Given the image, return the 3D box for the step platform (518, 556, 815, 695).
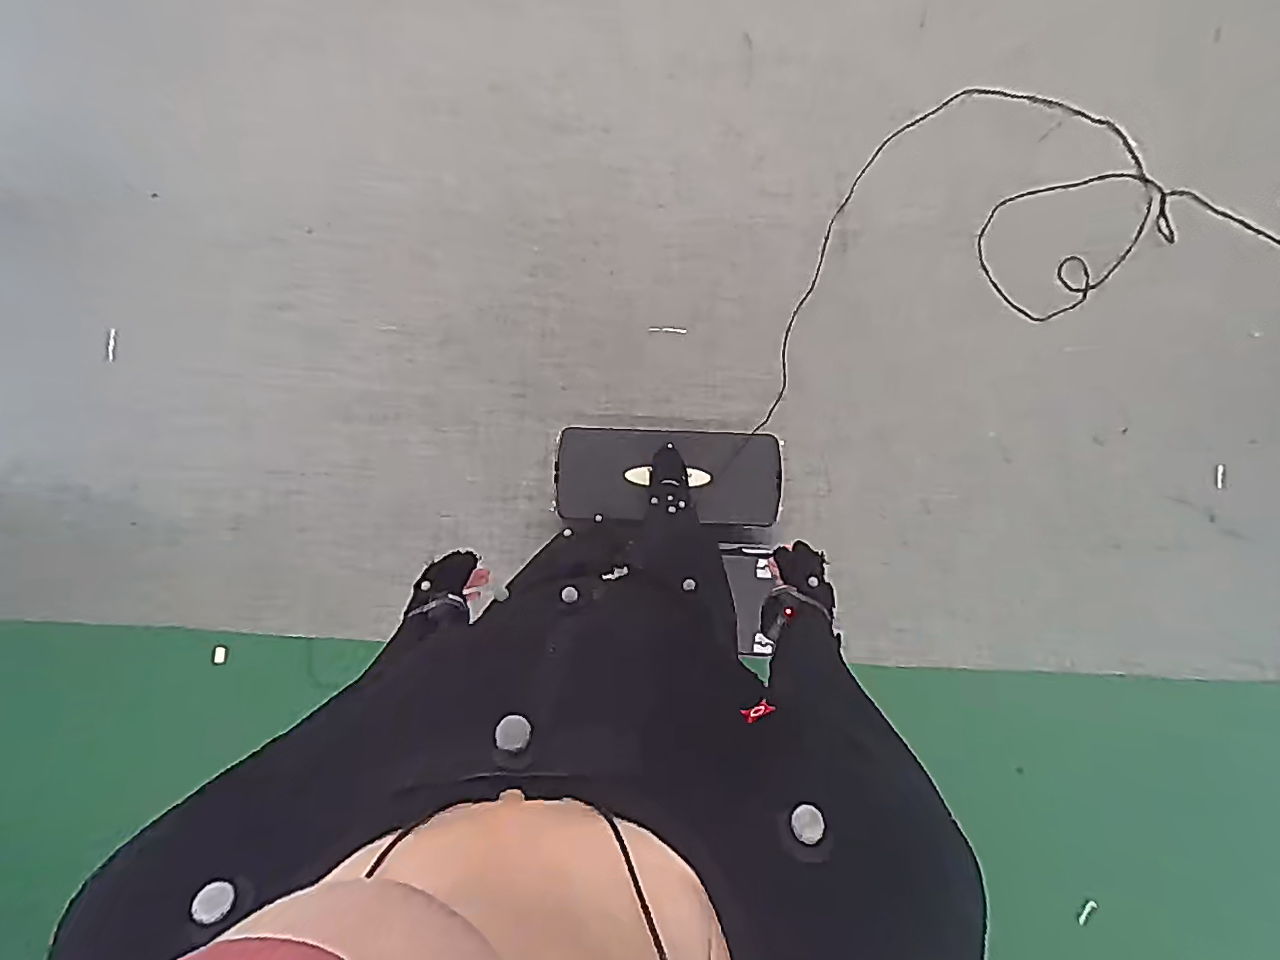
[{"bbox_3d":[0.062,0.344,1.332,0.684,0.204,0.286,2,87,0],"label":"step platform"}]
